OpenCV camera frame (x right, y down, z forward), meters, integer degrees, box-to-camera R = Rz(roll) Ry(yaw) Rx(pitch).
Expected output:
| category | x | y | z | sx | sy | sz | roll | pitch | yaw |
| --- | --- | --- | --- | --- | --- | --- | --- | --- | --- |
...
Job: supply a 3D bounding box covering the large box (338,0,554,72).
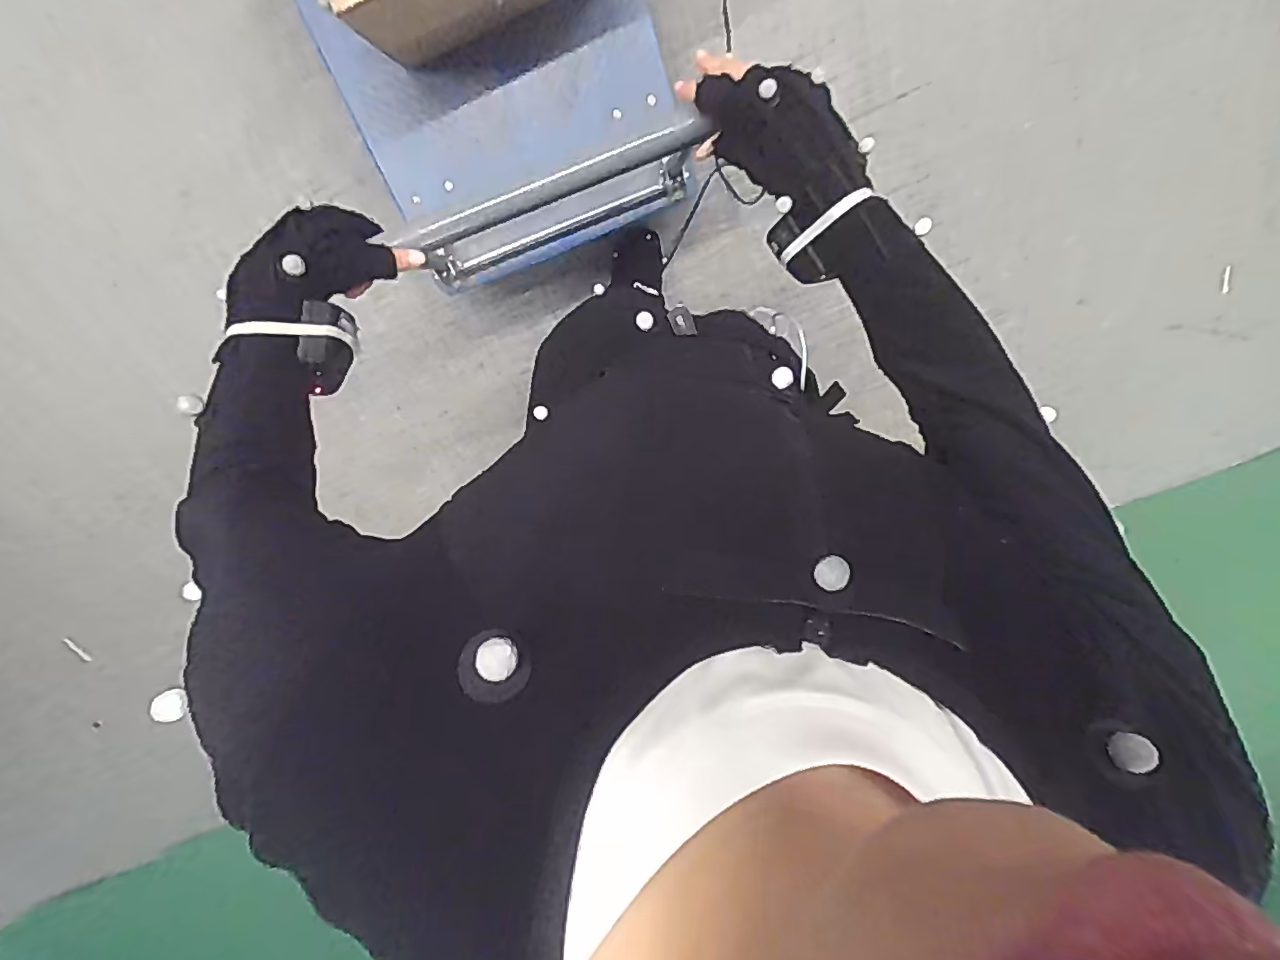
| category | x | y | z | sx | sy | sz | roll | pitch | yaw |
| --- | --- | --- | --- | --- | --- | --- | --- | --- | --- |
| large box | -0.270 | -0.870 | 0.765 | 0.408 | 0.320 | 0.320 | -22 | 115 | 7 |
